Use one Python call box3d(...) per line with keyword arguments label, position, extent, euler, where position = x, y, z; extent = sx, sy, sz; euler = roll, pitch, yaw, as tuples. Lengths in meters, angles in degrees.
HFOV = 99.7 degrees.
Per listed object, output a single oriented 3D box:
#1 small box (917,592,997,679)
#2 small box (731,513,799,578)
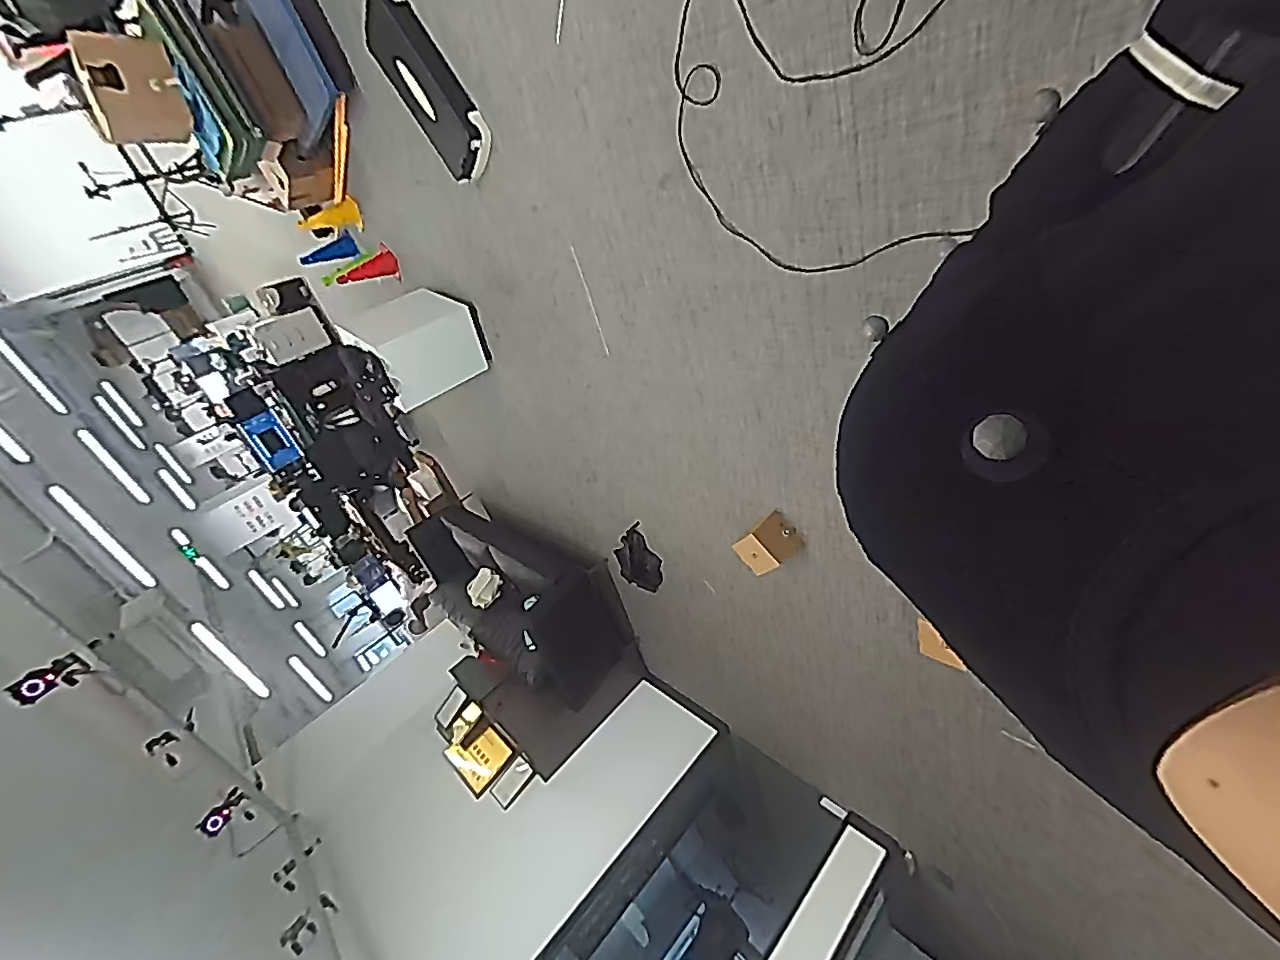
box3d(label="small box", position=(1.002, 0.483, 1.705), extent=(0.179, 0.176, 0.168), euler=(16, 135, 47))
box3d(label="small box", position=(0.507, 0.264, 2.174), extent=(0.168, 0.176, 0.179), euler=(48, 150, 6))
